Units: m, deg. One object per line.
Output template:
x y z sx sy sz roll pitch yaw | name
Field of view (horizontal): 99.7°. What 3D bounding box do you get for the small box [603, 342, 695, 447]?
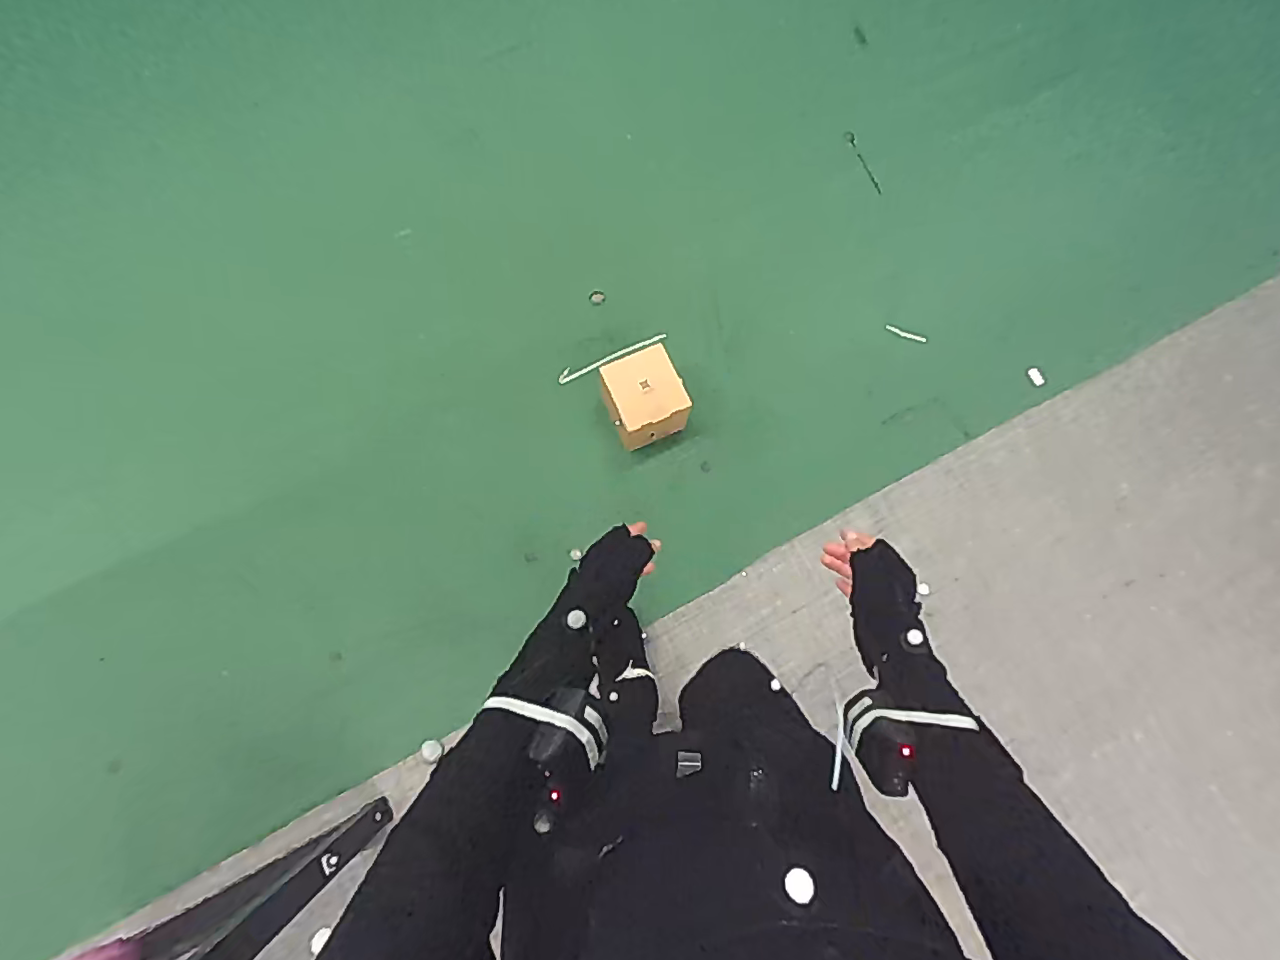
0.016 -0.207 1.346 0.168 0.176 0.179 -24 80 -7 | small box
